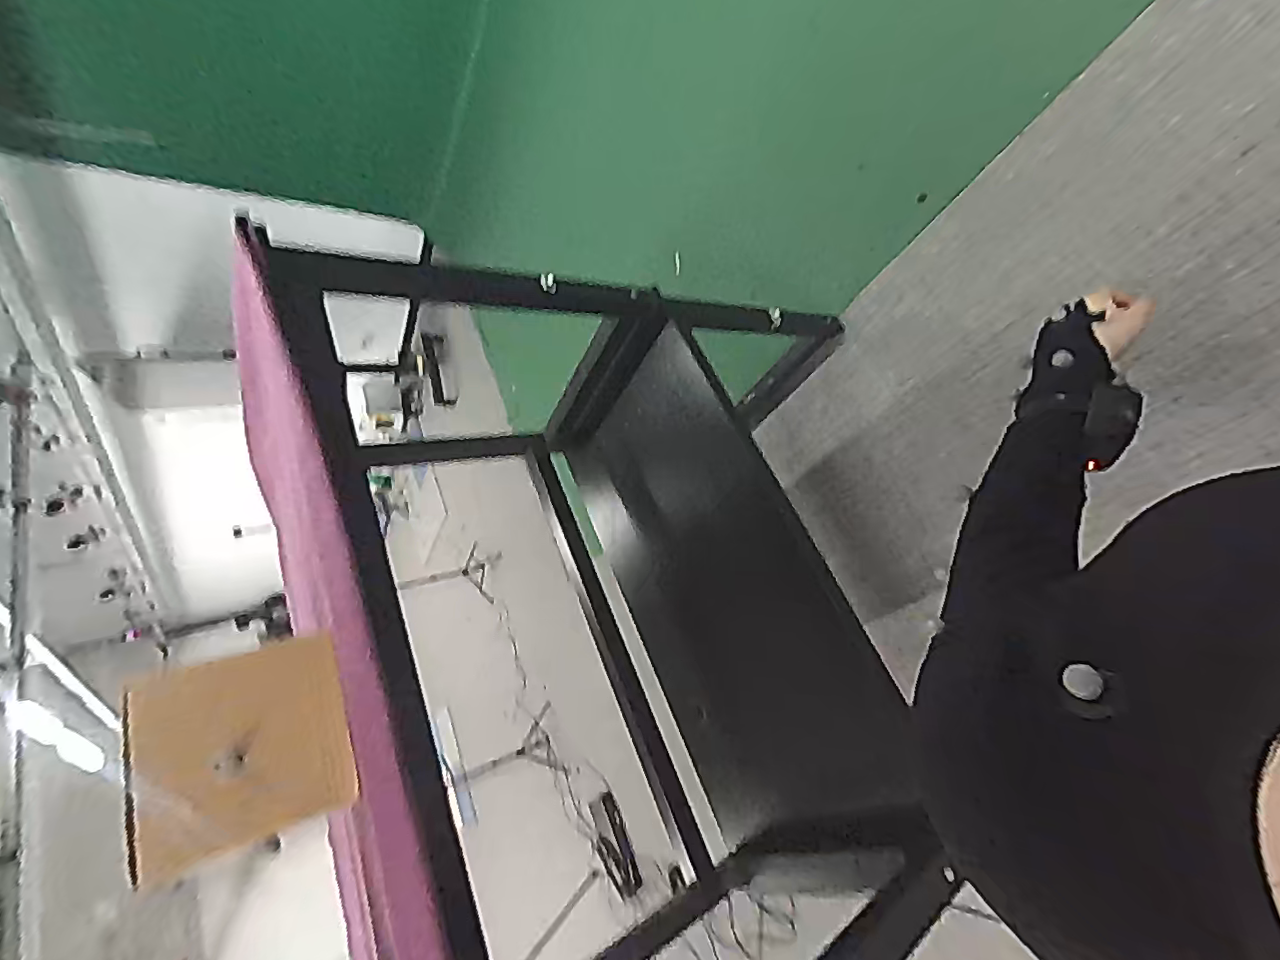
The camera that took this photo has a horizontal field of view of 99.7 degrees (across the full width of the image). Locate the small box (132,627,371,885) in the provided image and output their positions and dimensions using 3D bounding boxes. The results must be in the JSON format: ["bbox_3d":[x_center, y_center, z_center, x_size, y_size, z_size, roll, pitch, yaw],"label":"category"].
[{"bbox_3d":[-0.397,0.280,0.569,0.168,0.176,0.179,-46,62,46],"label":"small box"}]
